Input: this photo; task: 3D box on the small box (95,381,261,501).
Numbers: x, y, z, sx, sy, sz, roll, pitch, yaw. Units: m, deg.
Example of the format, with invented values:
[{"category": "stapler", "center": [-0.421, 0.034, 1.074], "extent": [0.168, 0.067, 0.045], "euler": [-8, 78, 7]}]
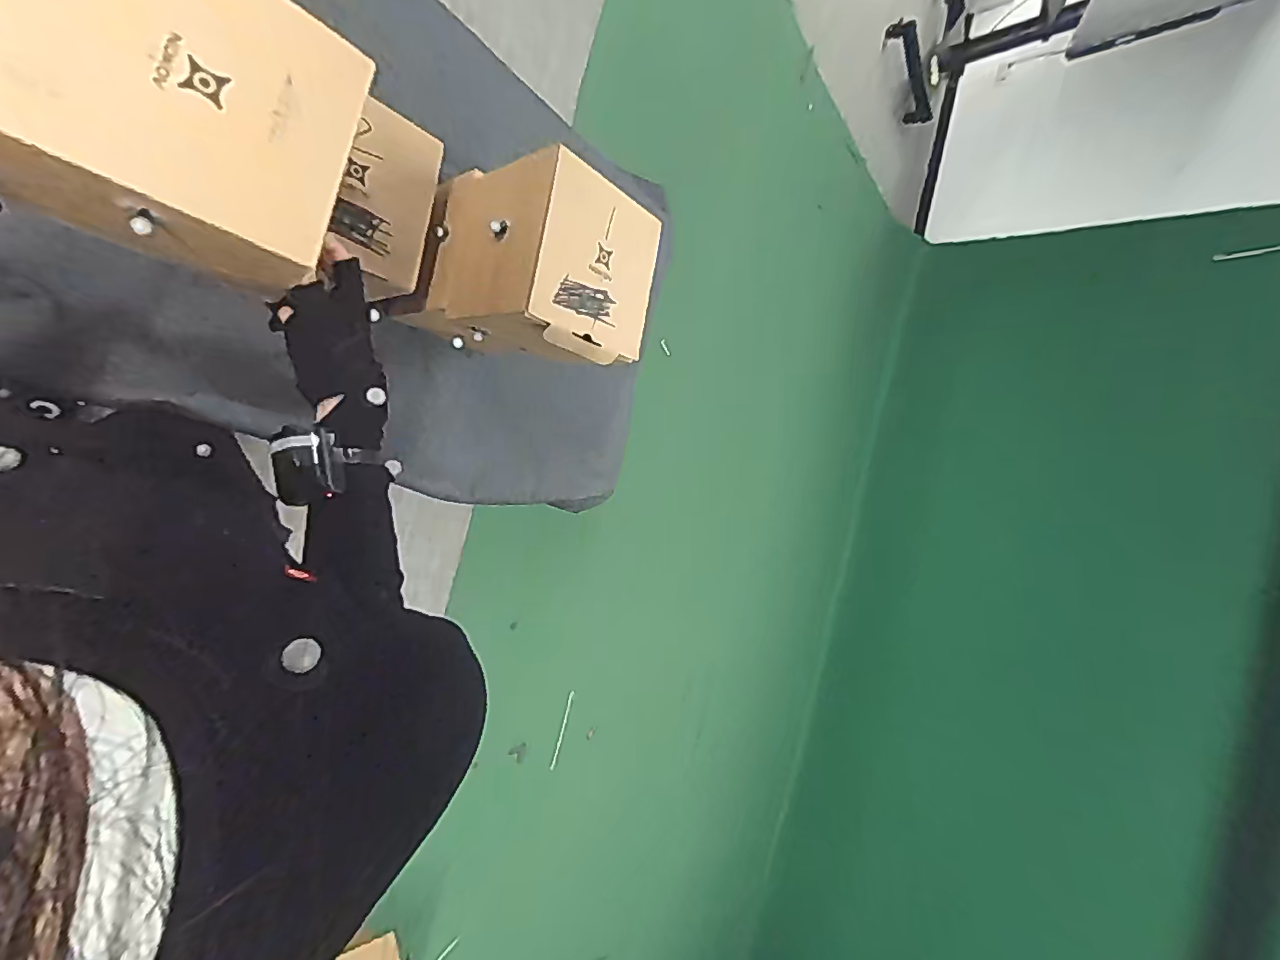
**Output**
[{"category": "small box", "center": [-0.944, -0.082, 1.109], "extent": [0.168, 0.176, 0.179], "euler": [54, 23, -2]}]

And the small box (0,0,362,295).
[{"category": "small box", "center": [-0.339, -0.254, 0.395], "extent": [0.179, 0.176, 0.168], "euler": [19, 83, -42]}]

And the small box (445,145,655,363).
[{"category": "small box", "center": [-0.111, -0.249, 0.648], "extent": [0.168, 0.176, 0.179], "euler": [13, 89, -48]}]
